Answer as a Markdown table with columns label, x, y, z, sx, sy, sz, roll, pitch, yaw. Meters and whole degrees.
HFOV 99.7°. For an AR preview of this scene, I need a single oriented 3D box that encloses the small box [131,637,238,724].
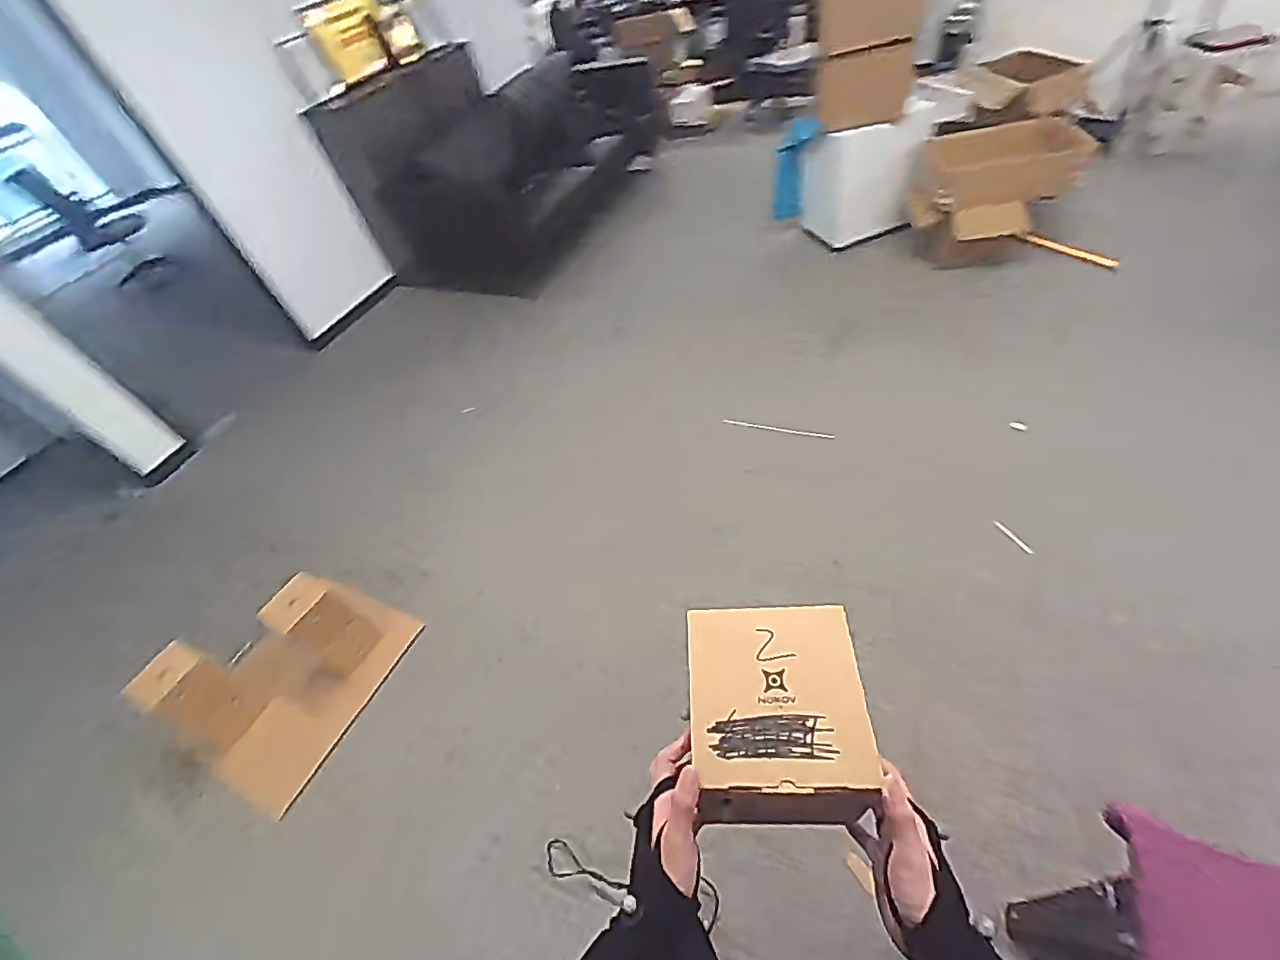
| label | x | y | z | sx | sy | sz | roll | pitch | yaw |
| --- | --- | --- | --- | --- | --- | --- | --- | --- | --- |
| small box | -1.421 | 0.633 | 1.705 | 0.168 | 0.176 | 0.179 | 16 | 56 | 26 |

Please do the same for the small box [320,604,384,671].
| label | x | y | z | sx | sy | sz | roll | pitch | yaw |
| --- | --- | --- | --- | --- | --- | --- | --- | --- | --- |
| small box | -1.042 | 0.539 | 1.910 | 0.168 | 0.176 | 0.179 | 17 | 56 | 28 |

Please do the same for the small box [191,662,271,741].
| label | x | y | z | sx | sy | sz | roll | pitch | yaw |
| --- | --- | --- | --- | --- | --- | --- | --- | --- | --- |
| small box | -1.392 | 0.742 | 1.820 | 0.168 | 0.176 | 0.179 | 15 | 55 | 27 |

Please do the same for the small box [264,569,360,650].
| label | x | y | z | sx | sy | sz | roll | pitch | yaw |
| --- | --- | --- | --- | --- | --- | --- | --- | --- | --- |
| small box | -1.079 | 0.433 | 1.791 | 0.168 | 0.176 | 0.179 | 20 | 57 | 28 |
